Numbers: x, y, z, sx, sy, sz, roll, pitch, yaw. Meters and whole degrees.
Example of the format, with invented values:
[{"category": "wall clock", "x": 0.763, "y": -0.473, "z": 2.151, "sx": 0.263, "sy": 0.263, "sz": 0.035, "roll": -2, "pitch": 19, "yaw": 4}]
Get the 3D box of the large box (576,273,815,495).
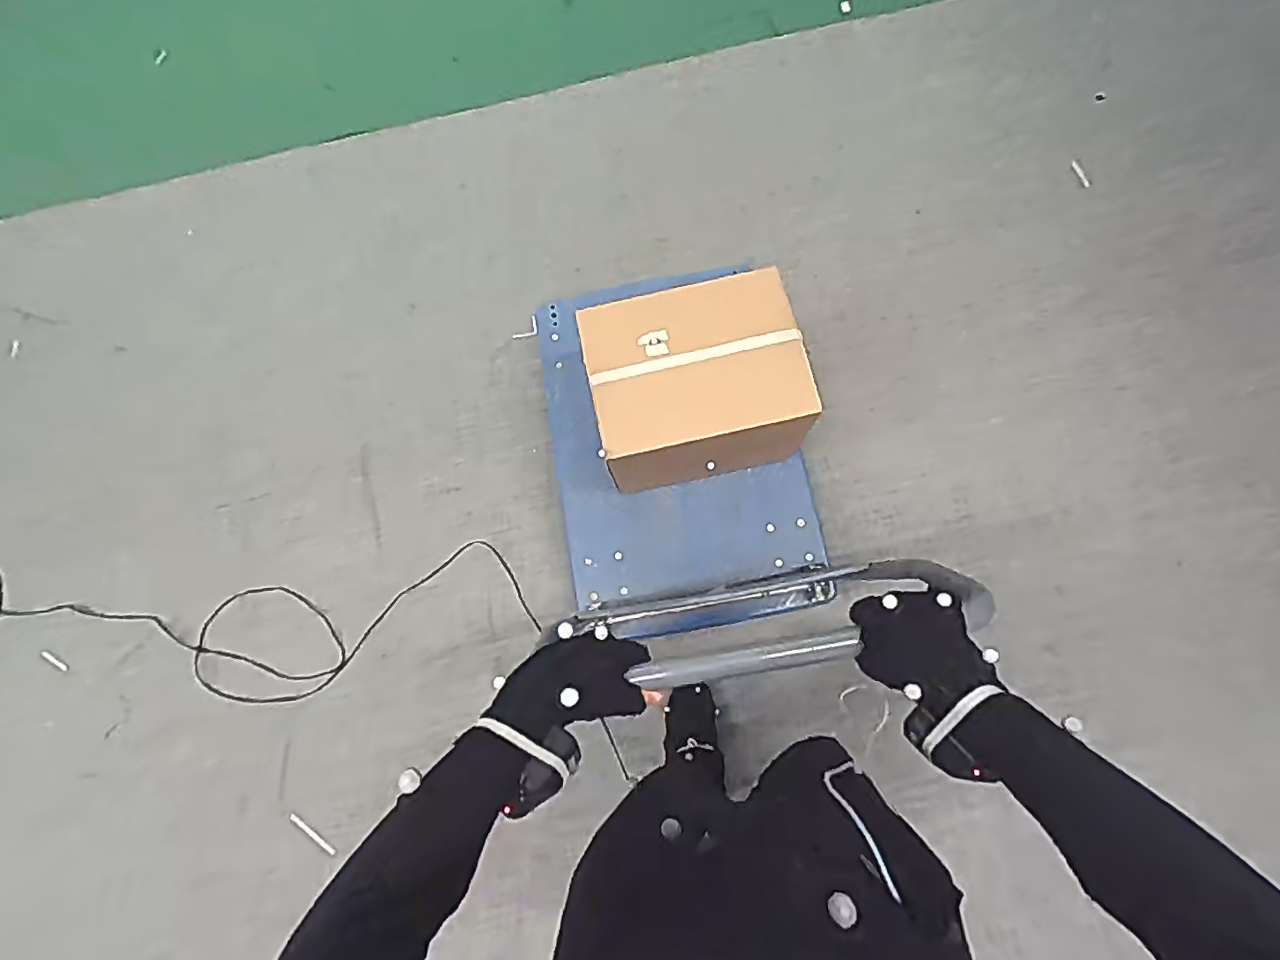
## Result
[{"category": "large box", "x": 0.111, "y": -0.184, "z": 1.175, "sx": 0.408, "sy": 0.320, "sz": 0.320, "roll": -14, "pitch": 75, "yaw": 1}]
